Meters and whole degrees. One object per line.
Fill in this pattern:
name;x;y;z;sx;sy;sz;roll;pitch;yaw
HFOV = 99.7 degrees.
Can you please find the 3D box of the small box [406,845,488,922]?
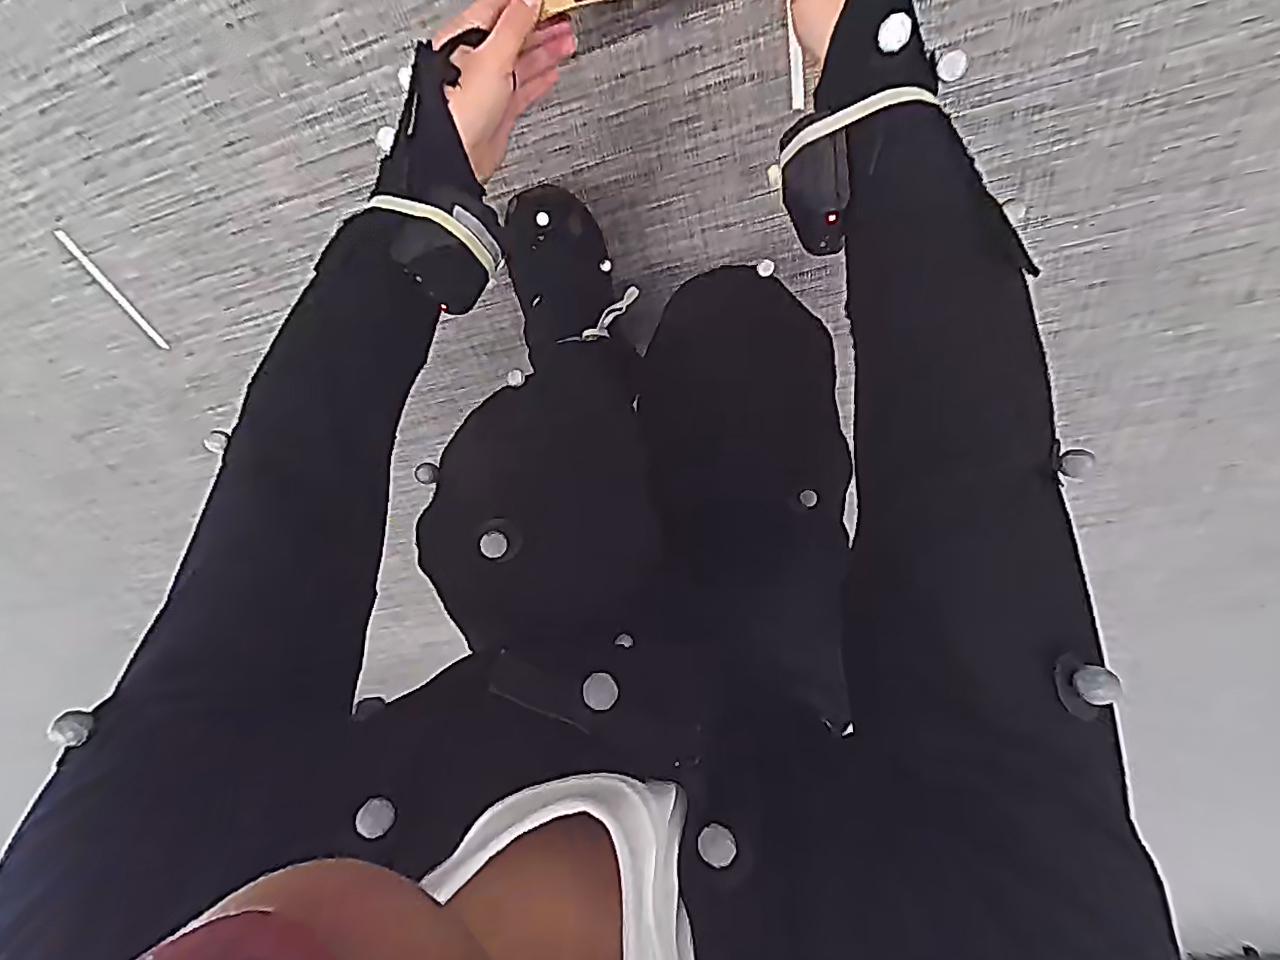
small box;-0.625;1.319;1.770;0.179;0.176;0.168;-12;130;9
